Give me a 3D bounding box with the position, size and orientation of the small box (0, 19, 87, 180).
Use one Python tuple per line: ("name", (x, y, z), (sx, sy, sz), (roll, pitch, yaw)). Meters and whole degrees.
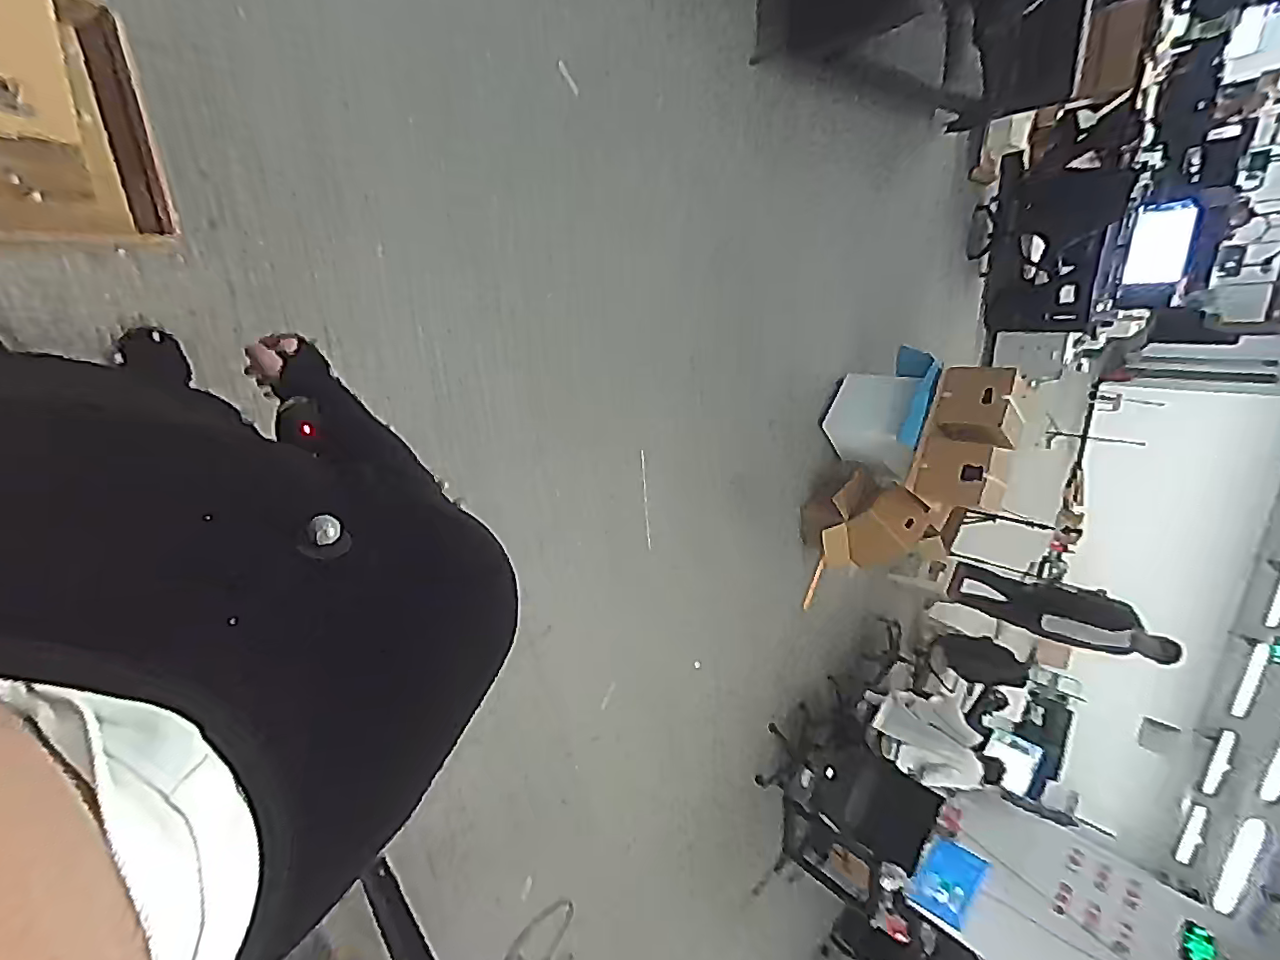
("small box", (-0.977, -0.574, 0.817), (0.168, 0.176, 0.179), (-17, 114, -40))
